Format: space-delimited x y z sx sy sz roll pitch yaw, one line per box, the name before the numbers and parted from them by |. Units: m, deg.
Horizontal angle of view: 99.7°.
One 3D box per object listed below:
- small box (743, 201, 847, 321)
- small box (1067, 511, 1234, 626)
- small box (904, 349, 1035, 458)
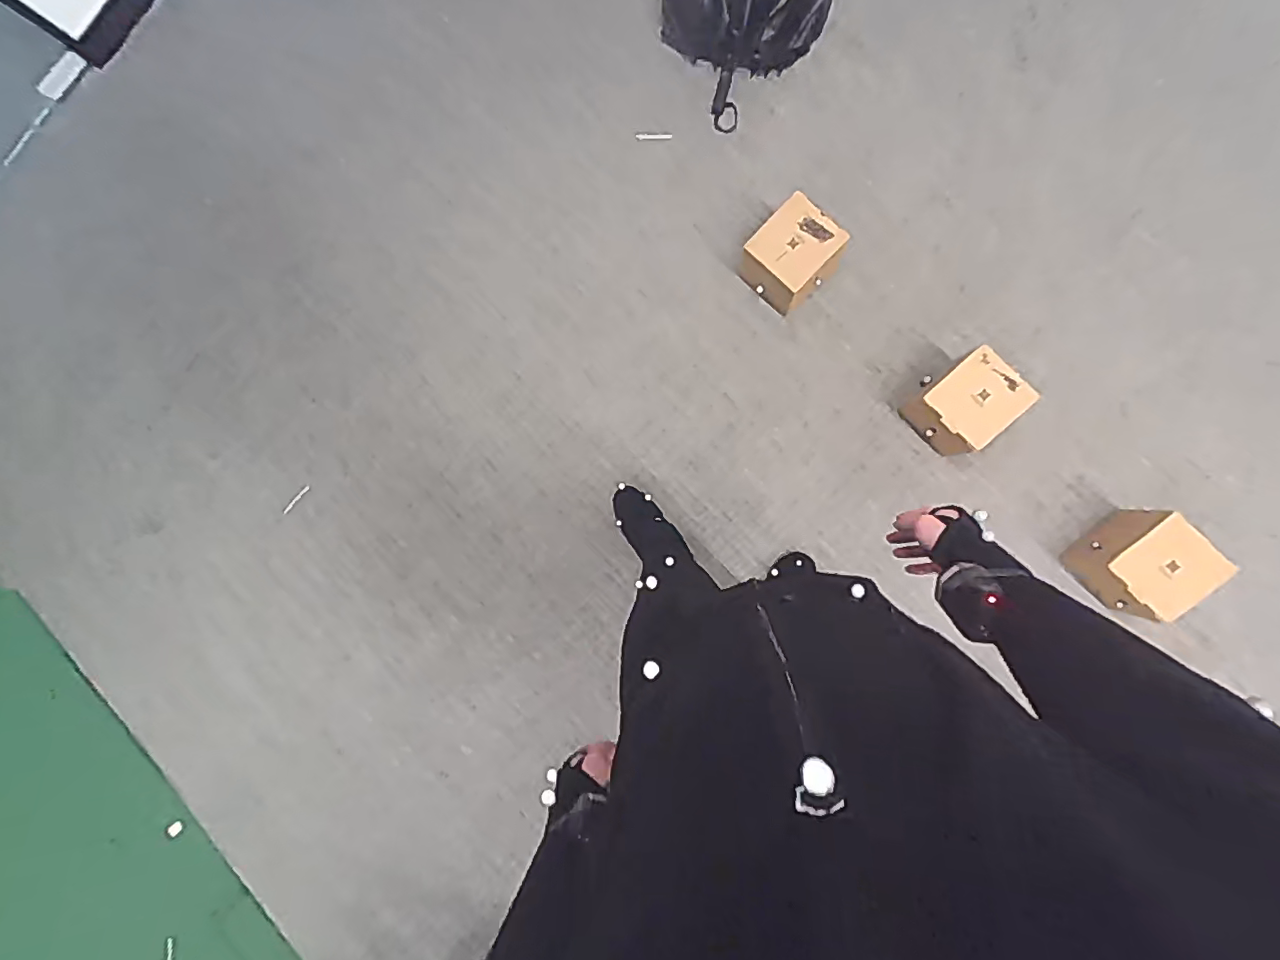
small box | 0.363 -0.521 1.312 0.168 0.176 0.179 45 96 8
small box | 1.093 0.185 1.182 0.179 0.176 0.168 -44 83 4
small box | 0.741 -0.165 1.246 0.179 0.176 0.168 -43 83 6
